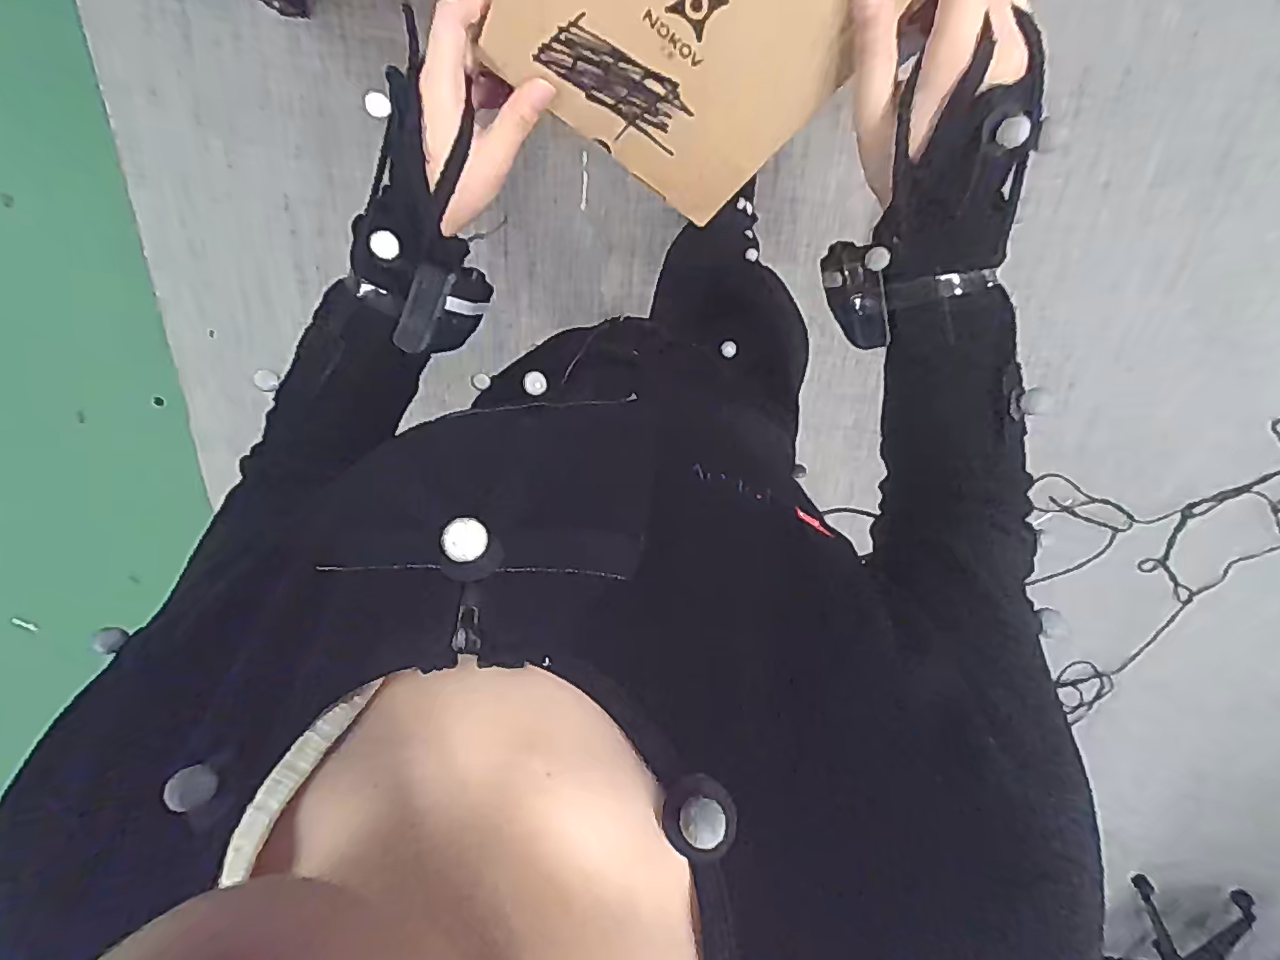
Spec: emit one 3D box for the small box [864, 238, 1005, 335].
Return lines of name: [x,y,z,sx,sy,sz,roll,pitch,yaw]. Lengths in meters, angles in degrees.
small box: [0.595,-0.402,1.117,0.179,0.176,0.168,6,112,-1]
